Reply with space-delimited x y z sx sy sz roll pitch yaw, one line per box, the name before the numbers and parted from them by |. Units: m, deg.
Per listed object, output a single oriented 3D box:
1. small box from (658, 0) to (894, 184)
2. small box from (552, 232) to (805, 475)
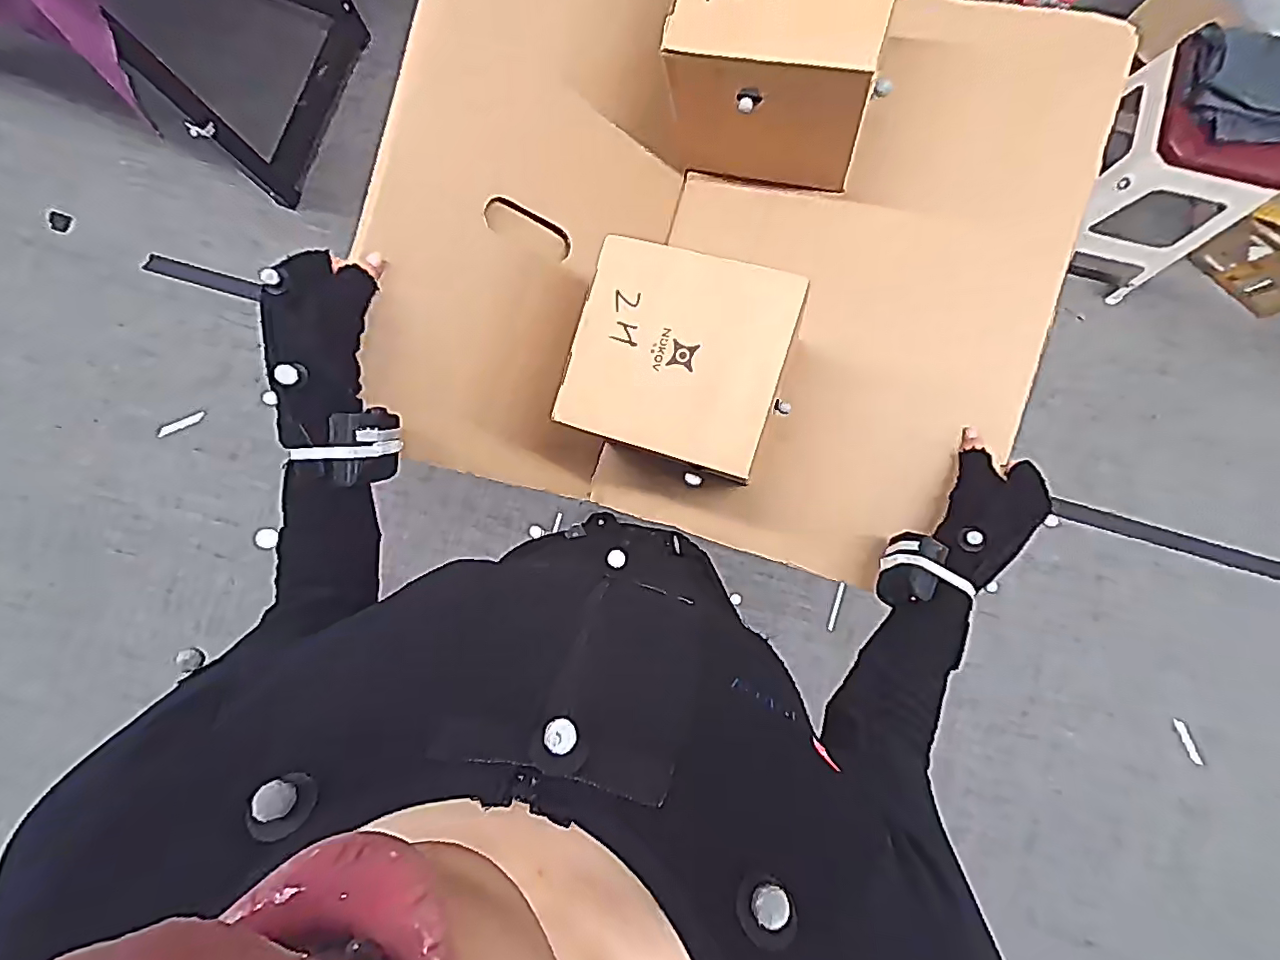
small box | 0.135 -0.414 0.515 0.179 0.176 0.168 16 92 13
small box | 0.045 -0.108 0.526 0.179 0.176 0.168 19 92 13
